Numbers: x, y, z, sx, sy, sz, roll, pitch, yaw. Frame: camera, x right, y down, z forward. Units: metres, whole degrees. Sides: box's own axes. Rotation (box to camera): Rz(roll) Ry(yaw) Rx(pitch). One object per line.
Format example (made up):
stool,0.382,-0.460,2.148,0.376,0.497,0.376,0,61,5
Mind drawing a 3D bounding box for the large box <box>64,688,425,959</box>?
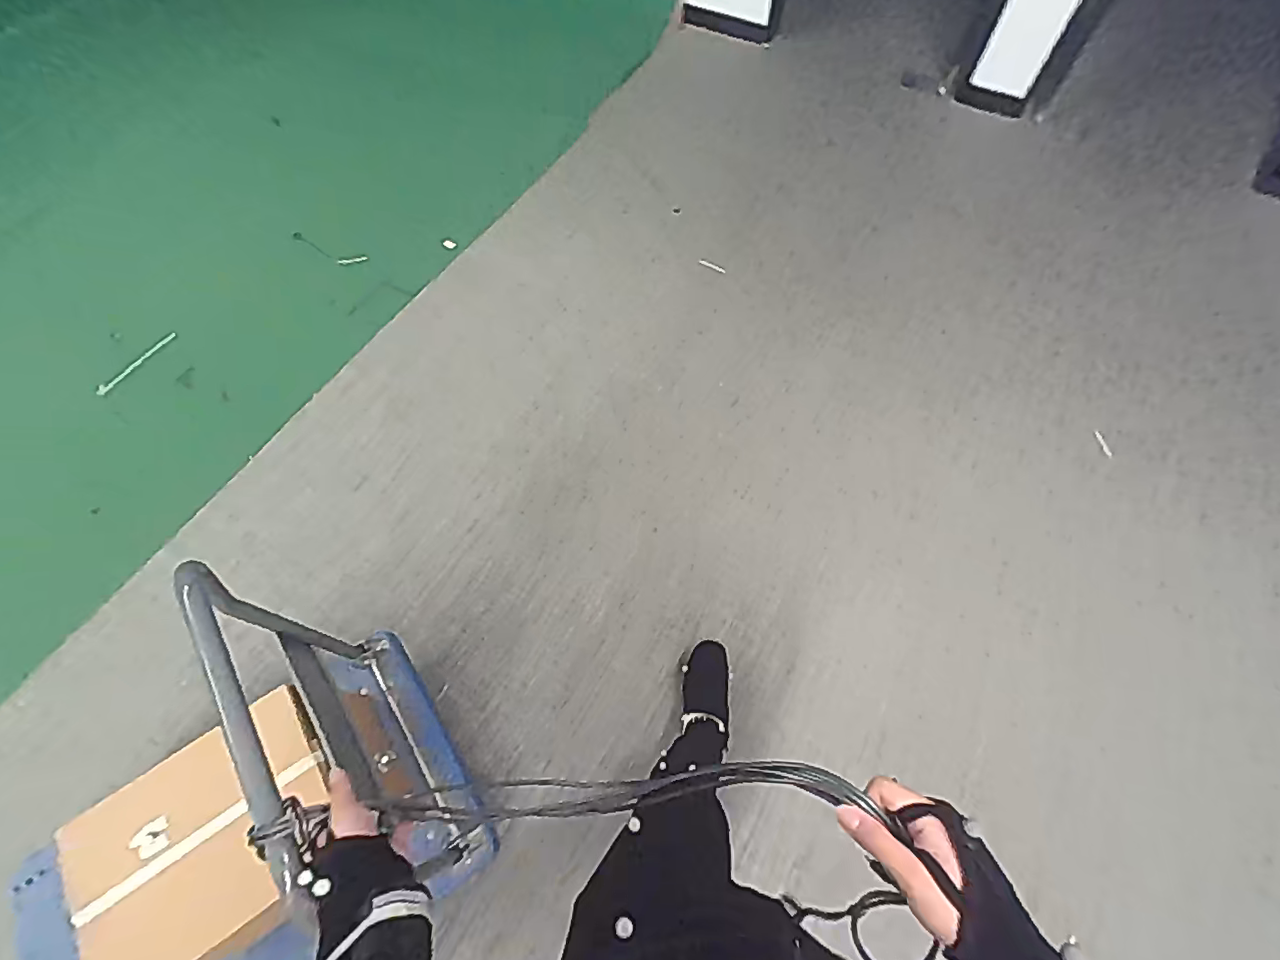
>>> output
large box,-0.701,0.650,1.021,0.408,0.320,0.320,-33,68,-12
